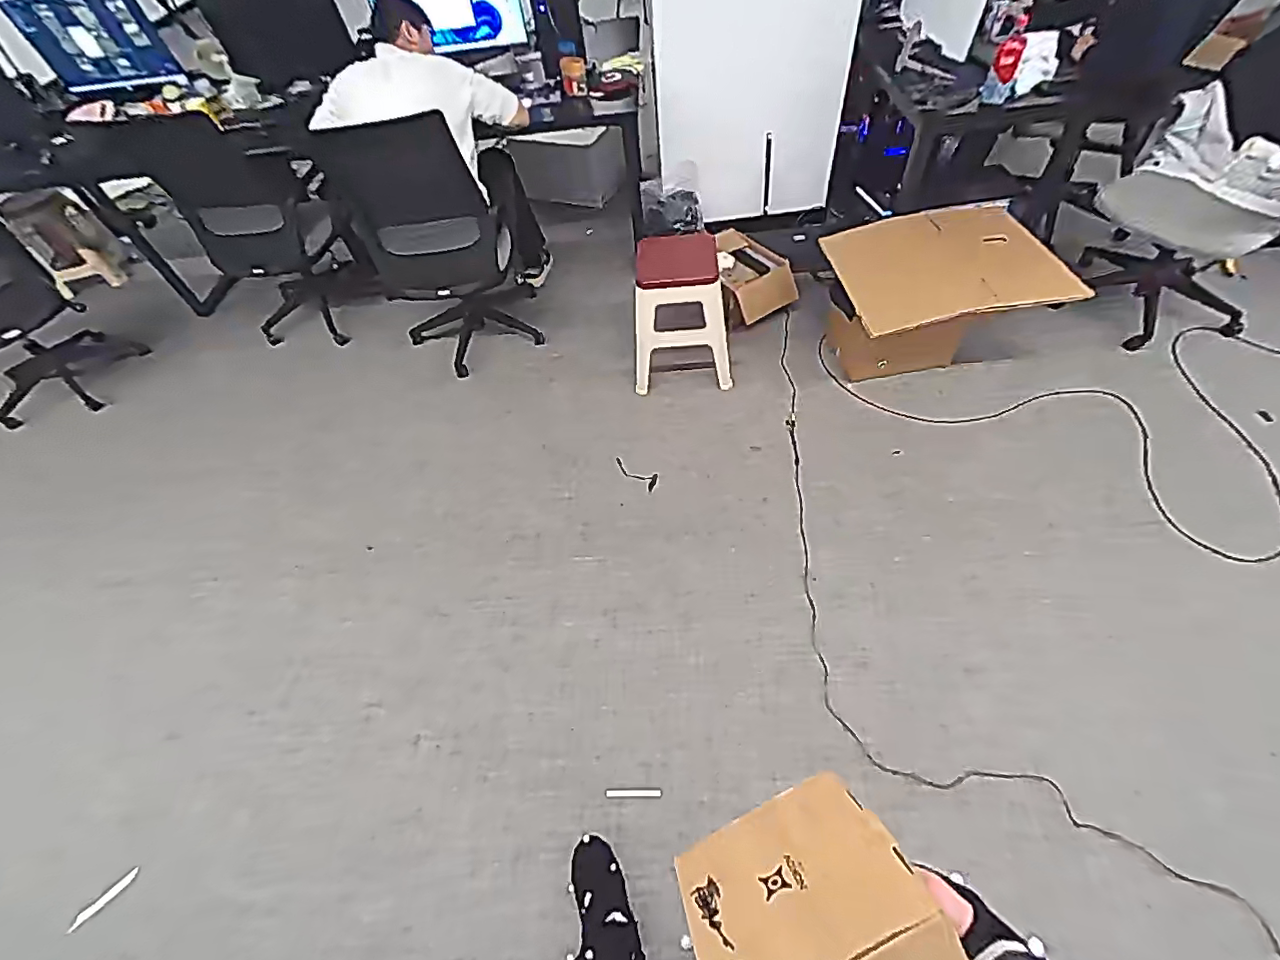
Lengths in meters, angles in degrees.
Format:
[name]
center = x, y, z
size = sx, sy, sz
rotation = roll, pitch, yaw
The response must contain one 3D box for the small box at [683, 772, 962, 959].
[small box]
center = 0.160, 0.402, 0.457
size = 0.179, 0.168, 0.176
rotation = -26, 94, -4
